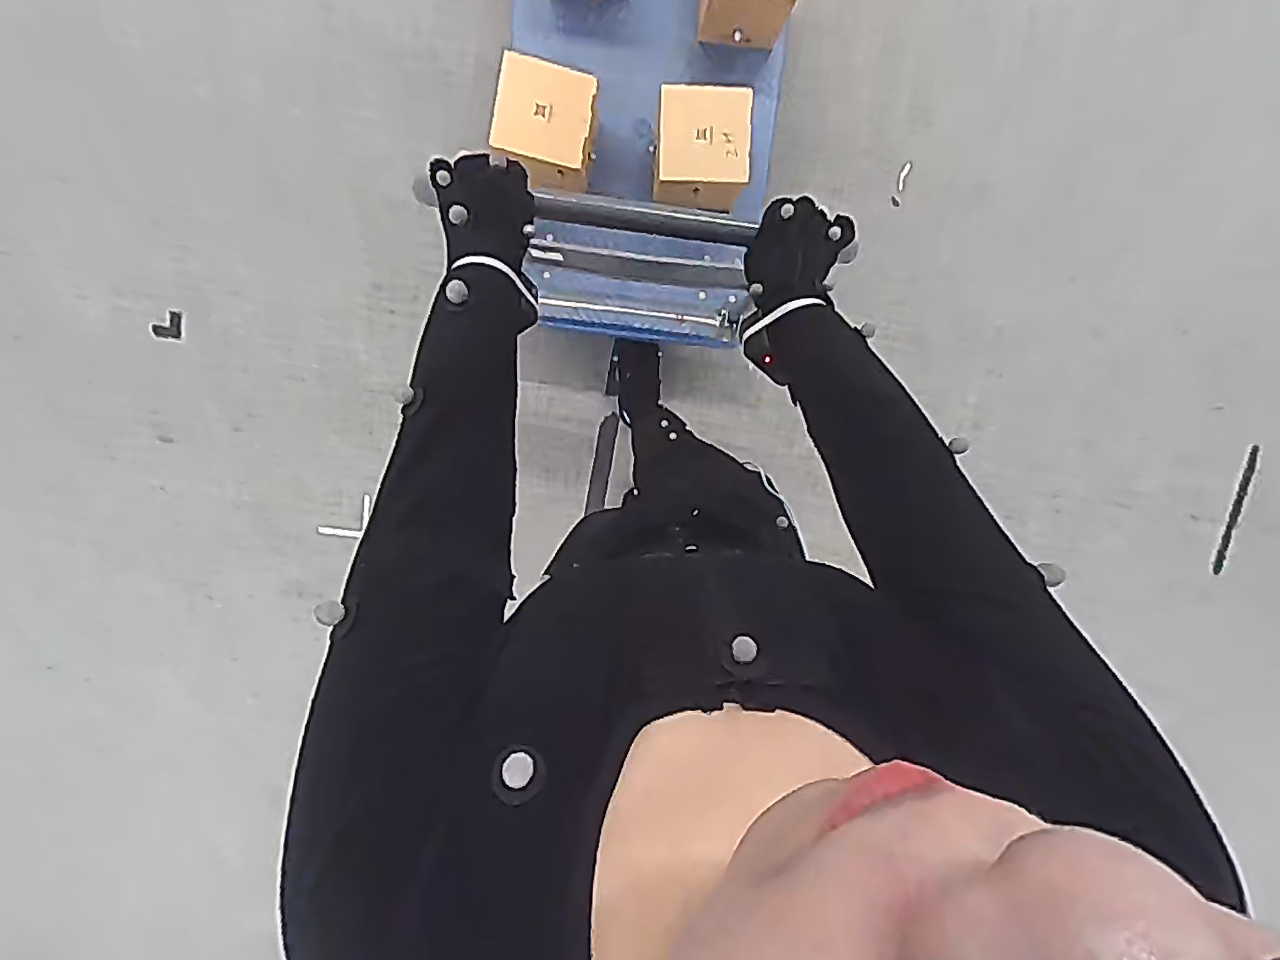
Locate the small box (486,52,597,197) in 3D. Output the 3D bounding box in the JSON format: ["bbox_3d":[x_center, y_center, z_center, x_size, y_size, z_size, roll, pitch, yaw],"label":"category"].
[{"bbox_3d":[-0.188,-0.689,1.071,0.179,0.176,0.168,12,99,-6],"label":"small box"}]

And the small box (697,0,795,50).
[{"bbox_3d":[0.206,-0.981,1.039,0.168,0.176,0.179,3,101,-3],"label":"small box"}]

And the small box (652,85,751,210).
[{"bbox_3d":[0.115,-0.660,1.091,0.179,0.176,0.168,0,100,-3],"label":"small box"}]
